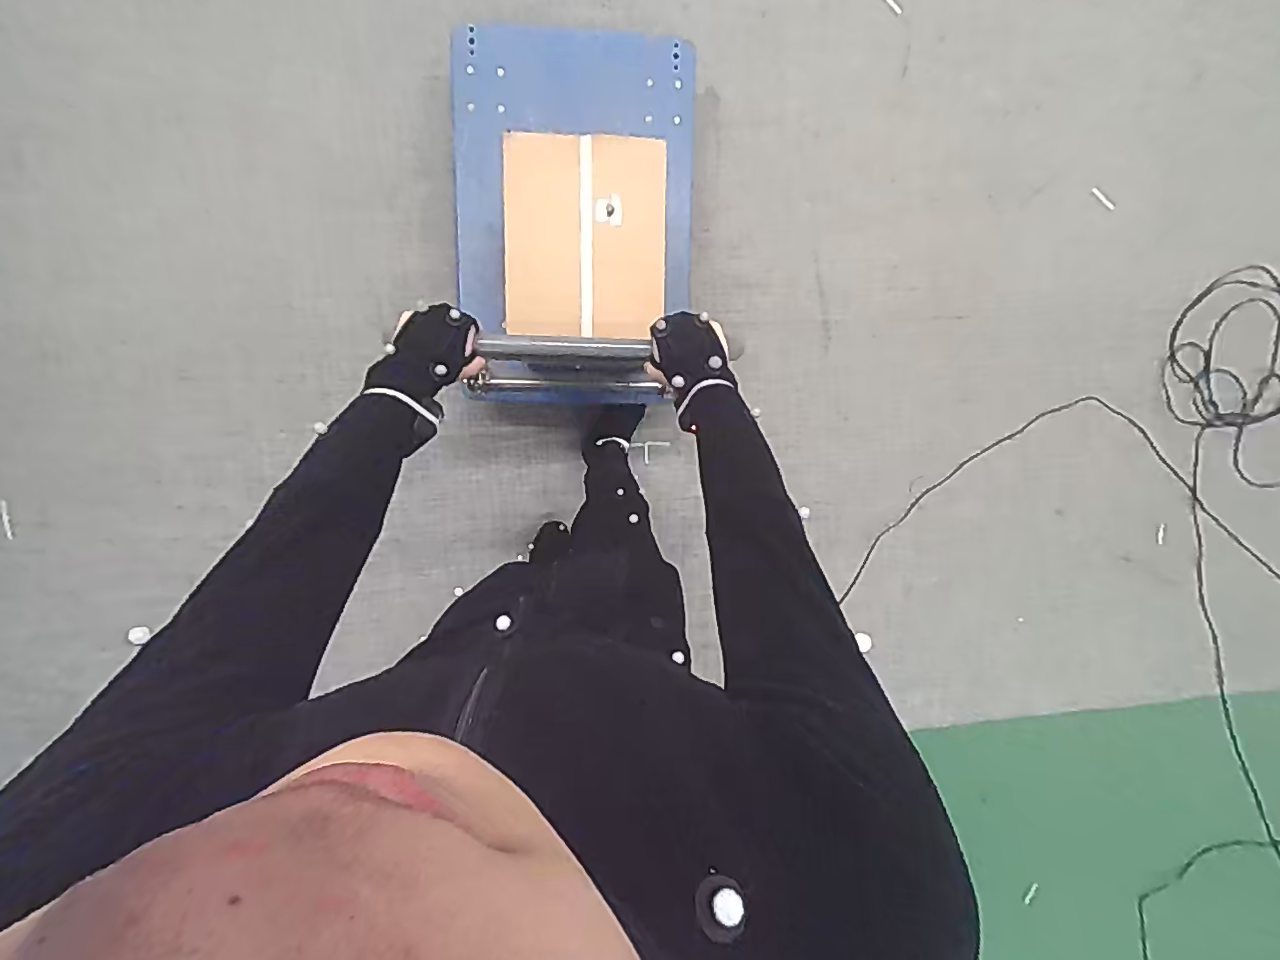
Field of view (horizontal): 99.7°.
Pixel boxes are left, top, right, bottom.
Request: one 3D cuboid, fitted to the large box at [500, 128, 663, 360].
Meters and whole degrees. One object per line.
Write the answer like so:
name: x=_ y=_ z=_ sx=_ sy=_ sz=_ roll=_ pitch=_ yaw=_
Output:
large box: x=-0.123 y=-0.485 z=1.200 sx=0.320 sy=0.320 sz=0.408 roll=-1 pitch=96 yaw=-6
